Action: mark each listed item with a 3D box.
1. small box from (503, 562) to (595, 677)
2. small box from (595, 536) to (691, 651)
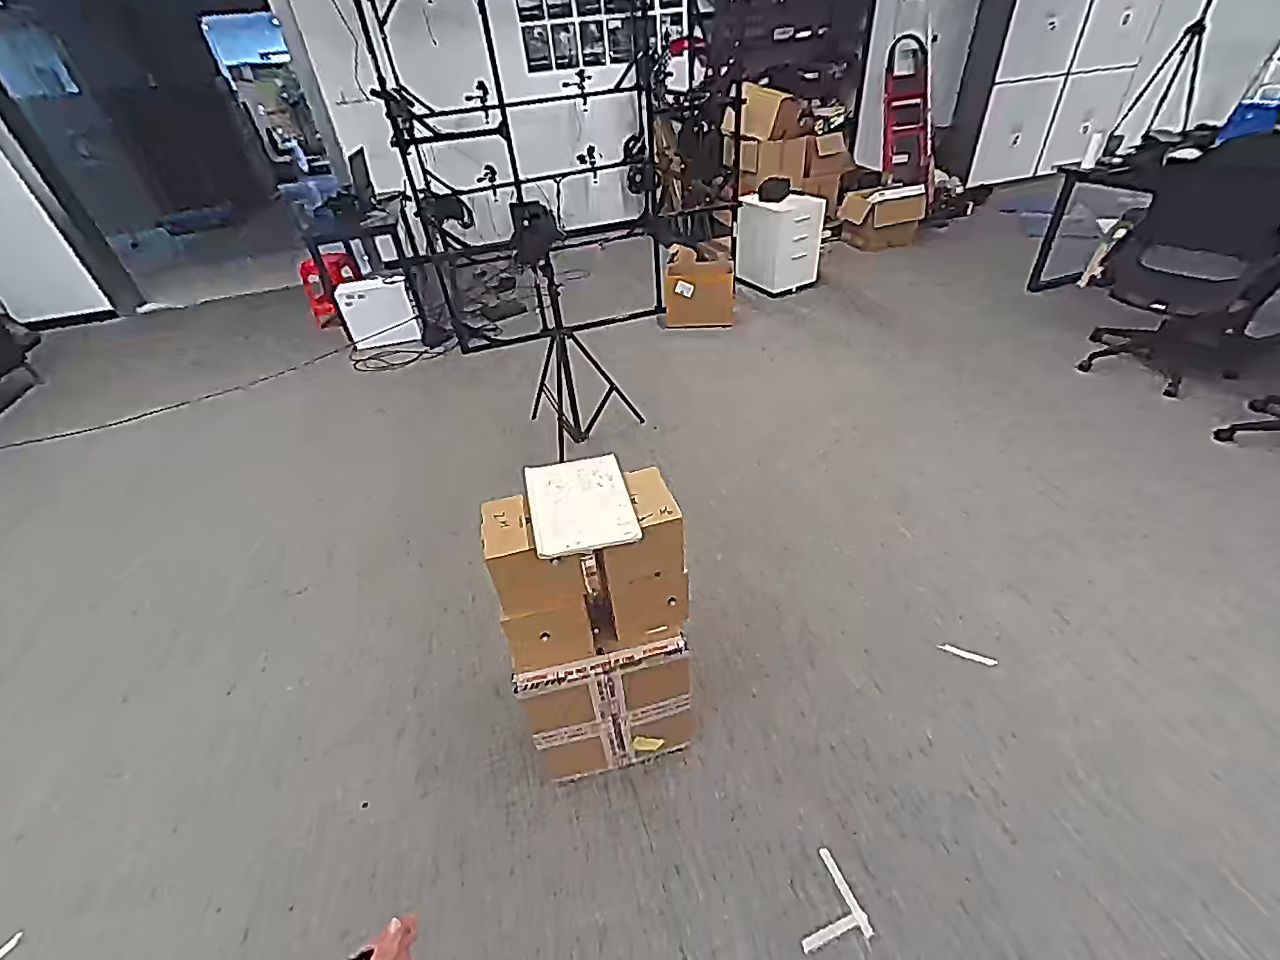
[{"bbox_3d":[-0.200,0.312,1.207,0.179,0.176,0.168,-11,40,-4],"label":"small box"},{"bbox_3d":[0.006,0.261,1.245,0.179,0.176,0.168,-15,41,-12],"label":"small box"}]
